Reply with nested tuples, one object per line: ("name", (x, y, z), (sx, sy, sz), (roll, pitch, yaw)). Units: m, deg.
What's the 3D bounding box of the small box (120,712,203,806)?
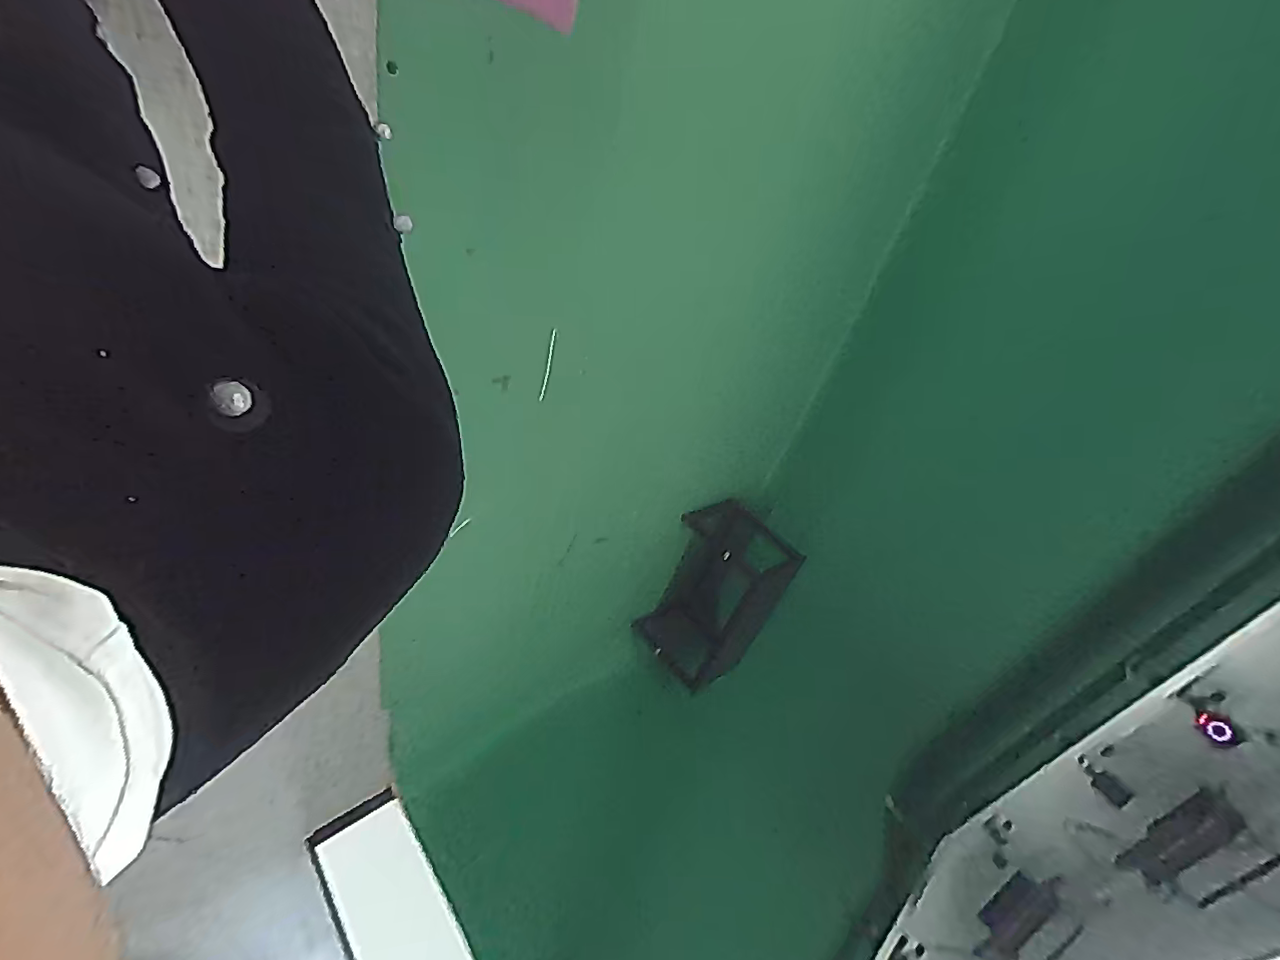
("small box", (-1.508, 0.870, 1.700), (0.179, 0.176, 0.168), (-4, 130, -48))
